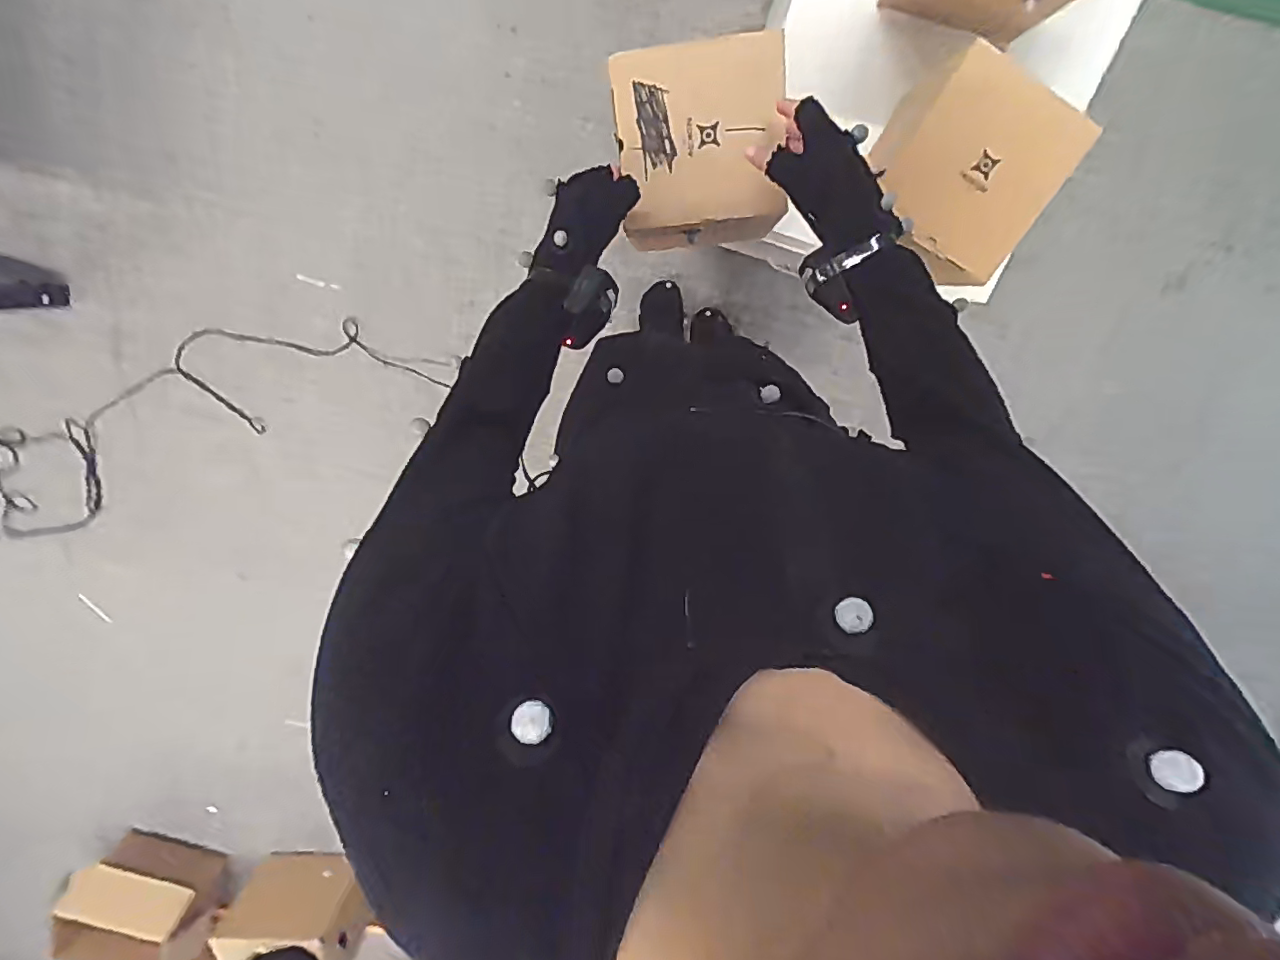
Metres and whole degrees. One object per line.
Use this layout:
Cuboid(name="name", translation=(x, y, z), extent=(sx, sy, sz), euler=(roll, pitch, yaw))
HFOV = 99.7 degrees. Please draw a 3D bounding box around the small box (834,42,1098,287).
Cuboid(name="small box", translation=(0.361, -0.351, 0.643), extent=(0.168, 0.176, 0.179), euler=(29, 109, -8))
